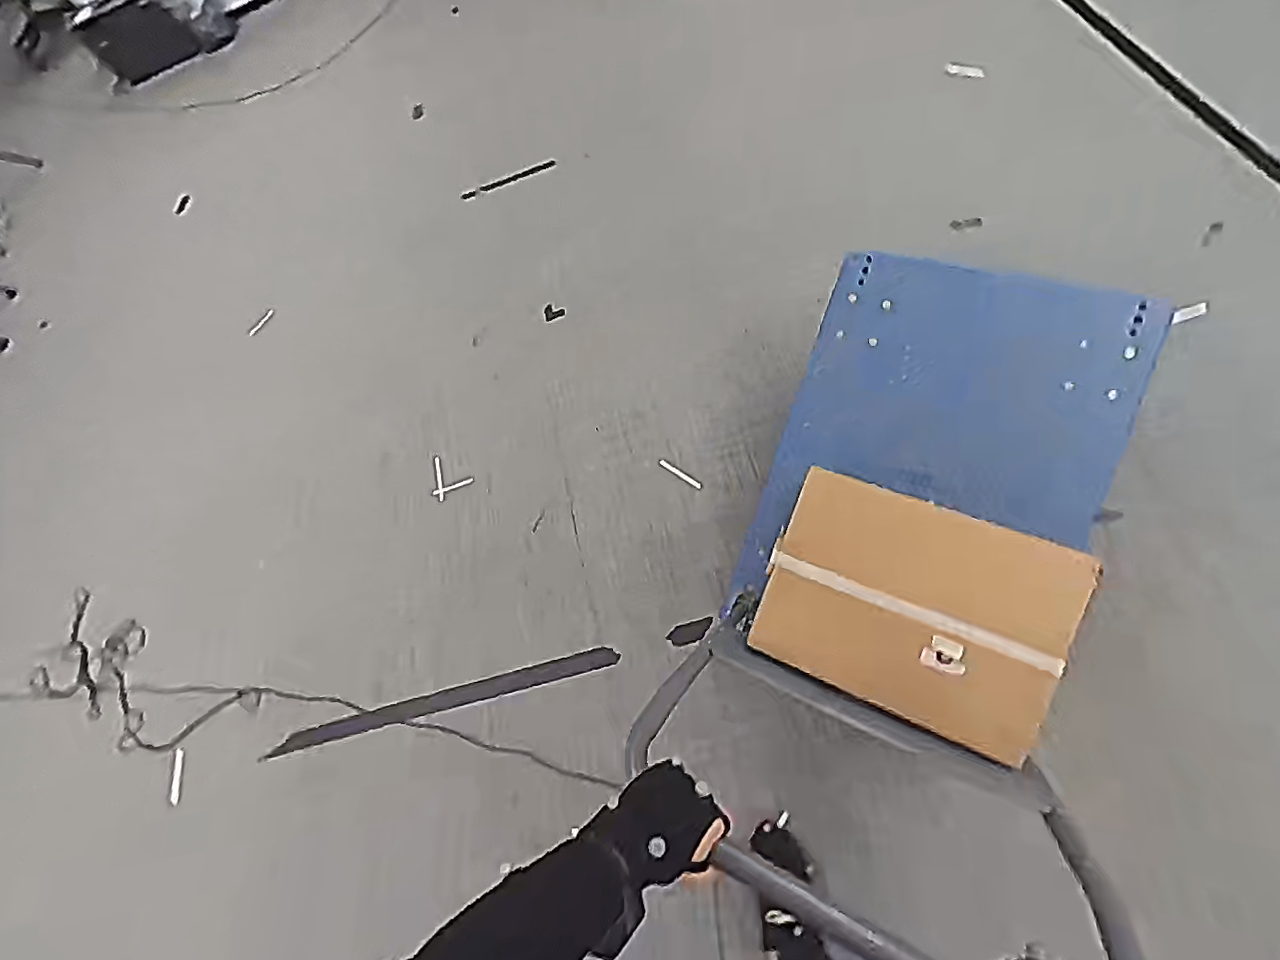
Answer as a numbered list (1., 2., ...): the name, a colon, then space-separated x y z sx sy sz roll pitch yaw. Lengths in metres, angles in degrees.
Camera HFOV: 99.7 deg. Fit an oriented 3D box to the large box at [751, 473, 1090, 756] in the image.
1. large box: 0.453 0.199 0.964 0.408 0.320 0.320 20 94 20
